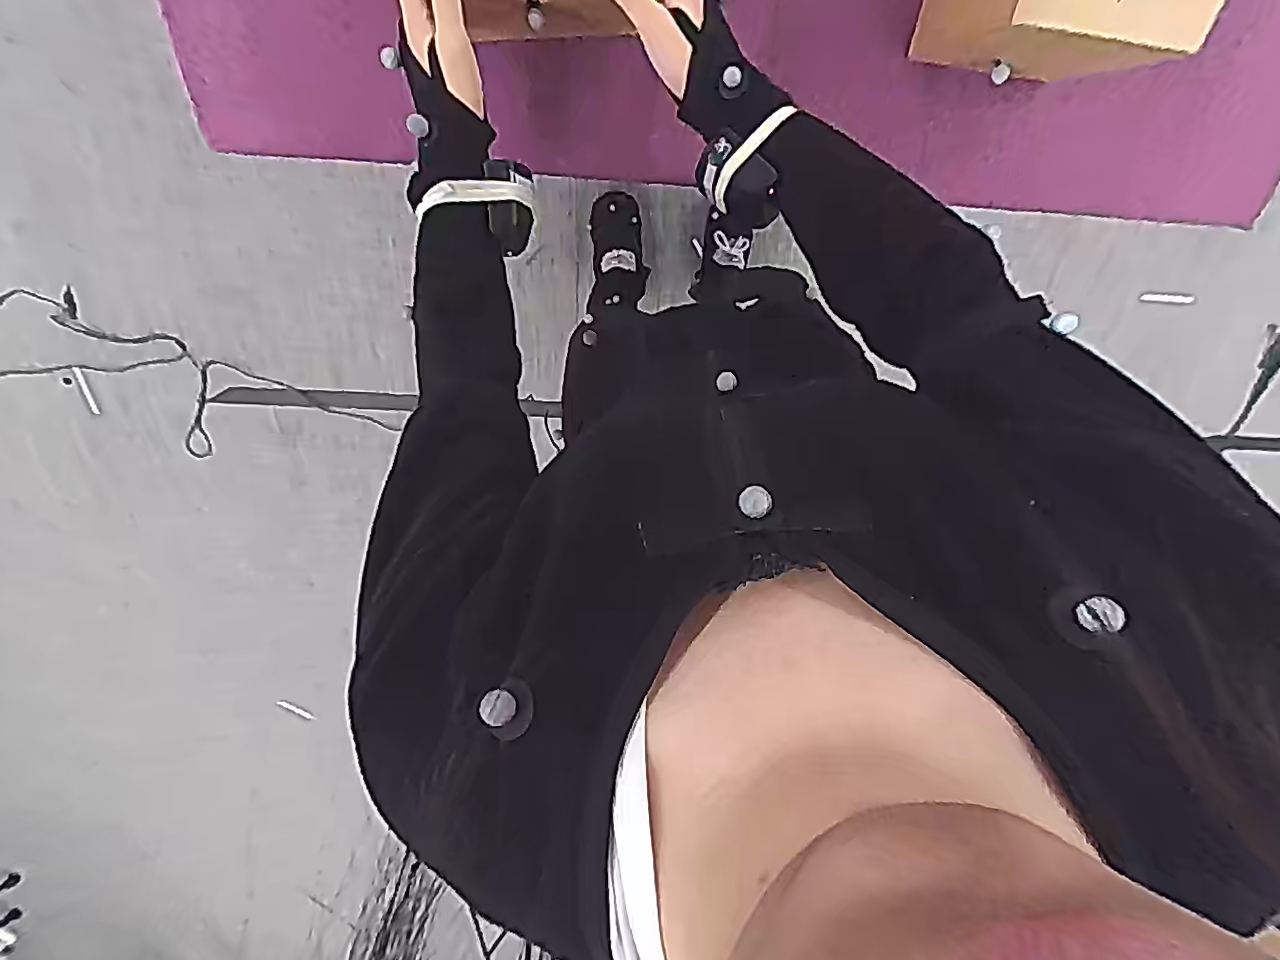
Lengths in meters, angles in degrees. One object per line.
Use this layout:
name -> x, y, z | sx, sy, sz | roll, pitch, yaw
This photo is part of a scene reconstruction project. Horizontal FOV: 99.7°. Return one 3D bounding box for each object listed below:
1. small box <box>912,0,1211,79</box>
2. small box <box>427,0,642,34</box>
small box -> 0.366, -0.467, 0.456 | 0.168, 0.176, 0.179 | 4, 120, -6
small box -> -0.084, -0.469, 0.420 | 0.179, 0.176, 0.168 | -4, 121, -2
